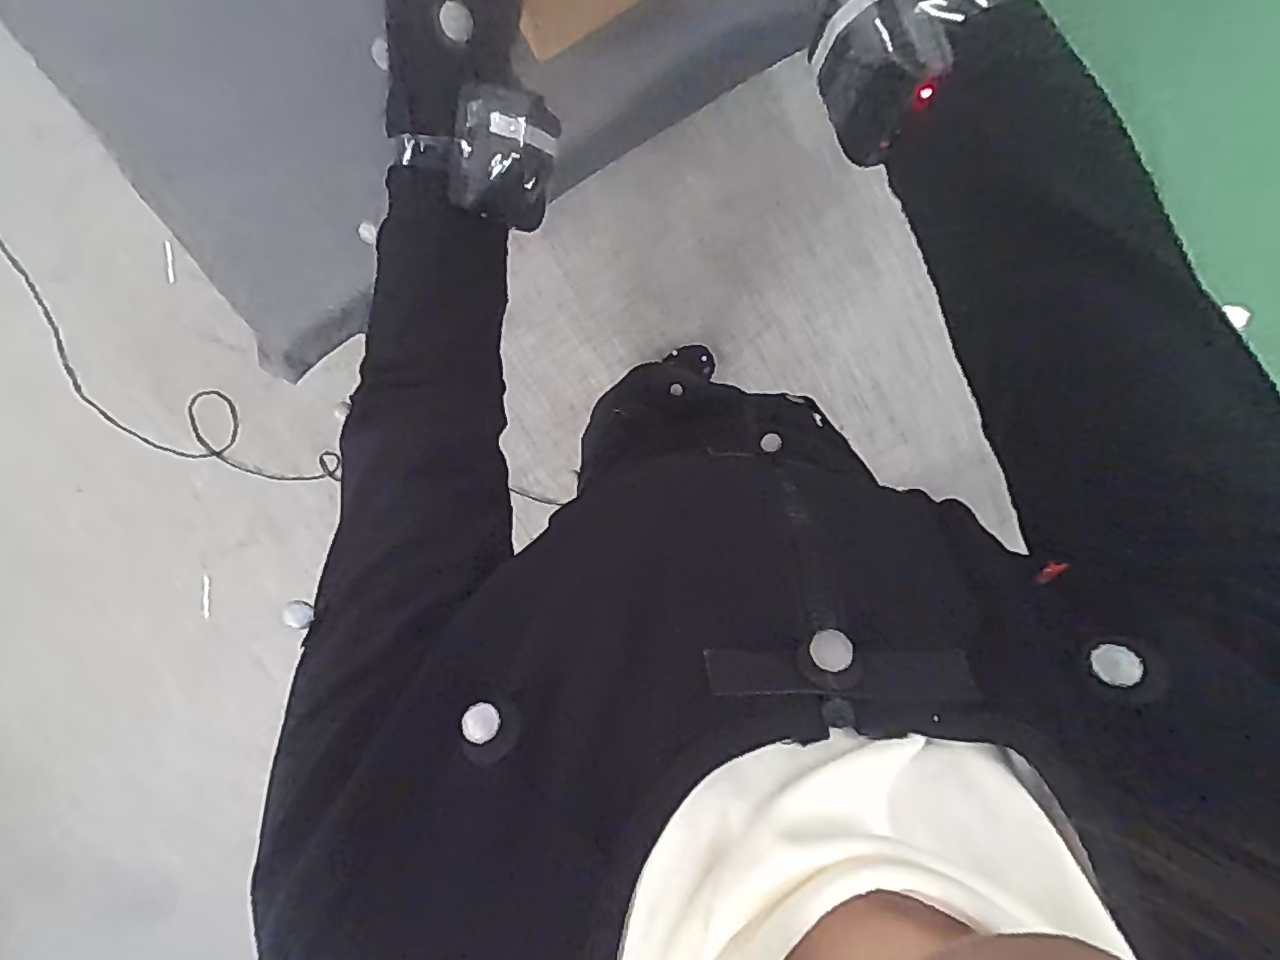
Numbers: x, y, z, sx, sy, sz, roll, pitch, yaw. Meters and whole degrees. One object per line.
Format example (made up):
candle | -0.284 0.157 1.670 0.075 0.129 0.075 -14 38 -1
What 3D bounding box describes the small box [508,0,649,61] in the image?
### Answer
small box | -0.069 -0.524 0.470 0.179 0.176 0.168 -28 102 8
